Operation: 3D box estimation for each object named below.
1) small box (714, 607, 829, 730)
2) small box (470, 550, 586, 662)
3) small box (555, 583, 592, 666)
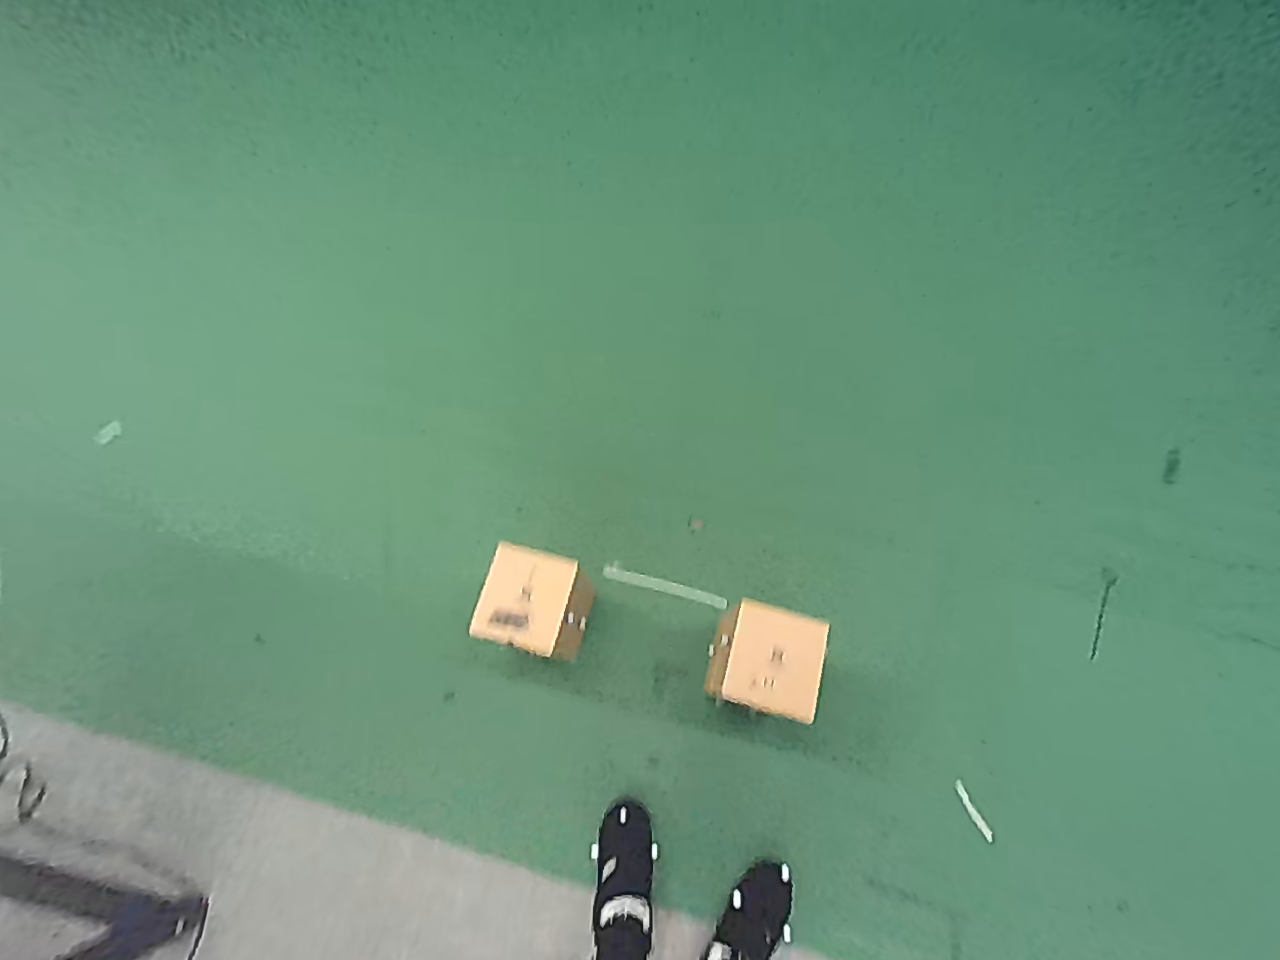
[{"bbox_3d":[0.246,0.362,1.046,0.168,0.176,0.179,15,71,6],"label":"small box"},{"bbox_3d":[-0.215,0.262,1.094,0.168,0.176,0.179,14,70,6],"label":"small box"},{"bbox_3d":[-0.212,0.319,1.247,0.168,0.176,0.179,14,71,6],"label":"small box"}]
